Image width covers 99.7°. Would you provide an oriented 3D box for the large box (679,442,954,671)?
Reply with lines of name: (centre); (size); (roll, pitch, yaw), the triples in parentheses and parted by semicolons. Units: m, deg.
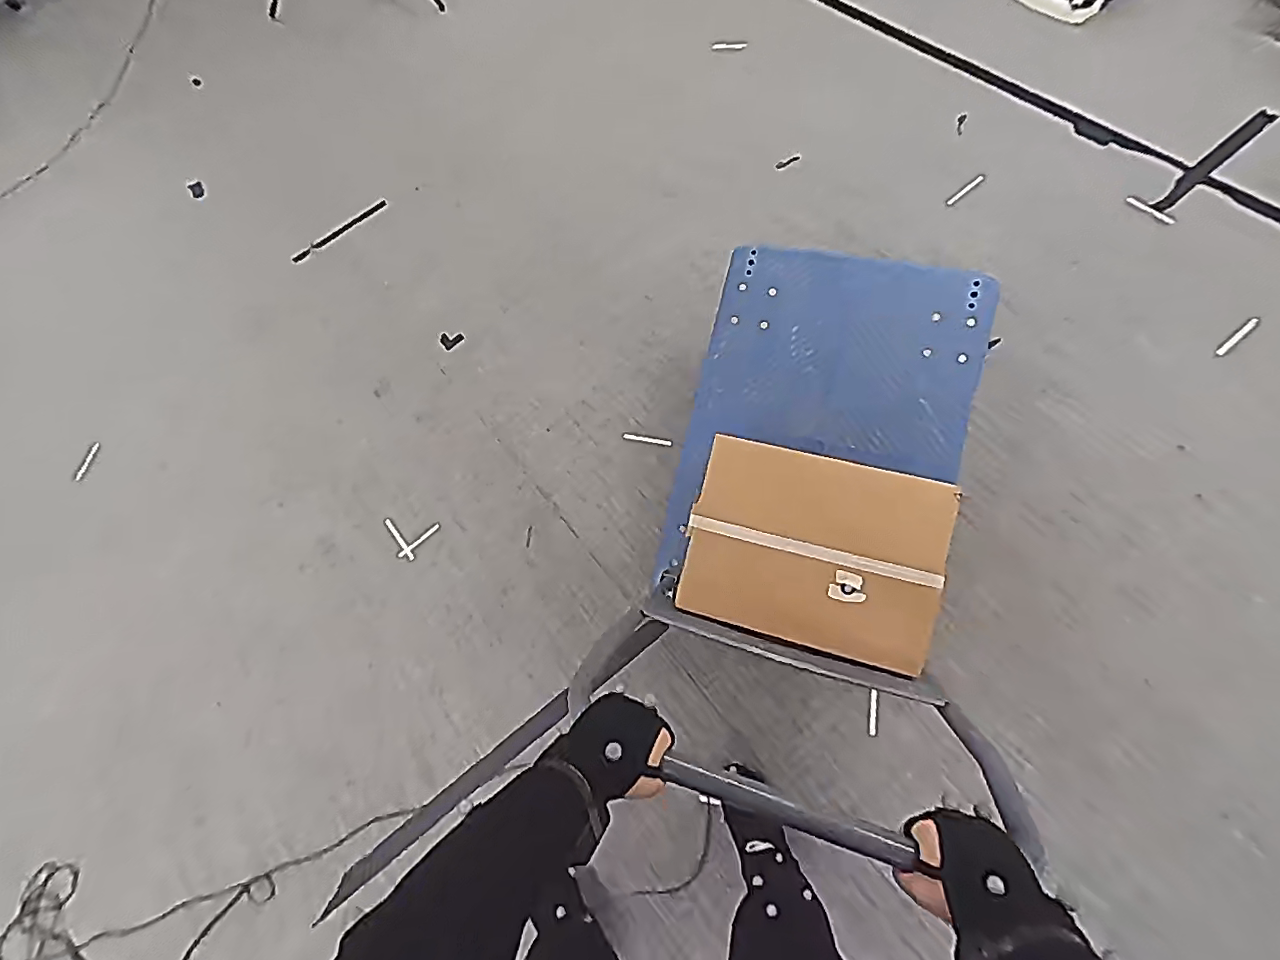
large box: (0.318, 0.132, 1.060); (0.408, 0.320, 0.320); (13, 89, 12)
